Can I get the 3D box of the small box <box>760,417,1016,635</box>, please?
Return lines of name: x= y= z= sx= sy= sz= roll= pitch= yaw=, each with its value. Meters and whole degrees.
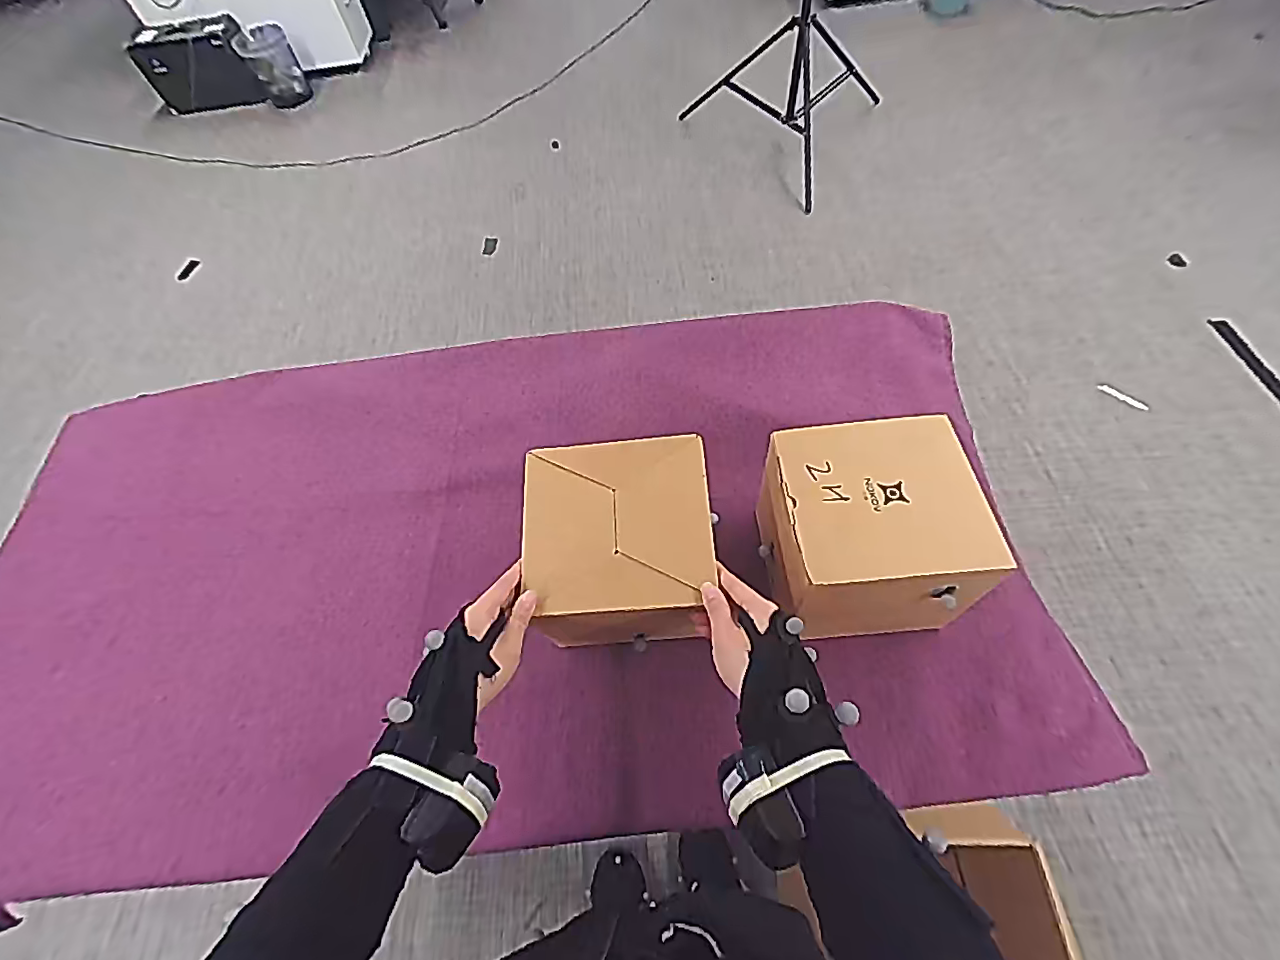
small box: x=0.234 y=0.055 z=0.565 sx=0.179 sy=0.176 sz=0.168 roll=-5 pitch=57 yaw=2

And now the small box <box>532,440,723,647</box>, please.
small box: x=-0.012 y=0.072 z=0.572 sx=0.179 sy=0.176 sz=0.168 roll=-6 pitch=63 yaw=4
